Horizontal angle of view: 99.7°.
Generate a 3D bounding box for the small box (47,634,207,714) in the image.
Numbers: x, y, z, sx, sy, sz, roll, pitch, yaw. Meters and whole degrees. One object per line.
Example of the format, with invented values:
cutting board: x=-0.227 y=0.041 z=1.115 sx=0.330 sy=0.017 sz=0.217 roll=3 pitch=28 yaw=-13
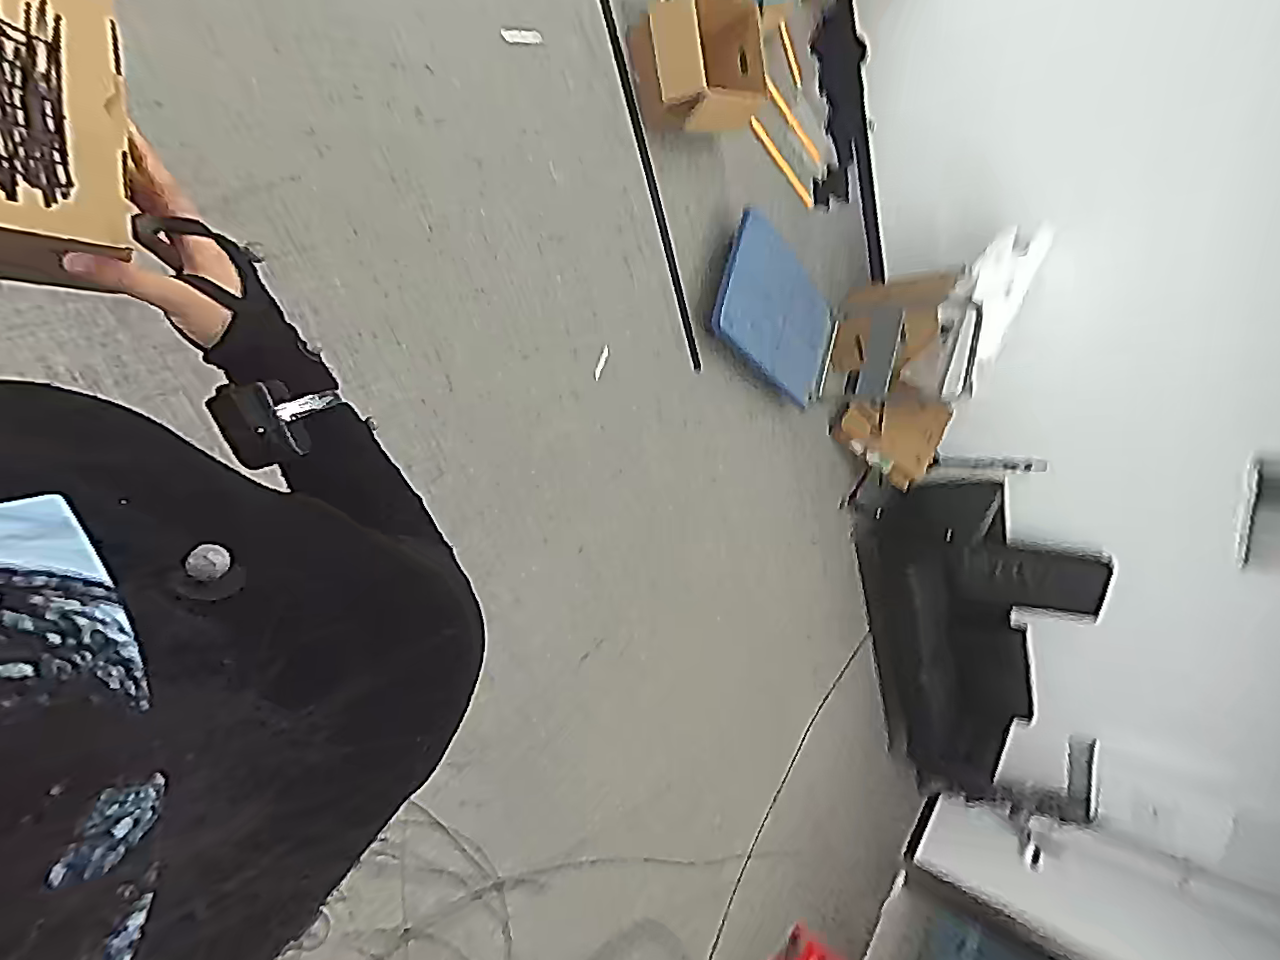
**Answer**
small box: x=-1.016 y=0.430 z=1.075 sx=0.168 sy=0.176 sz=0.179 roll=-37 pitch=119 yaw=-37
